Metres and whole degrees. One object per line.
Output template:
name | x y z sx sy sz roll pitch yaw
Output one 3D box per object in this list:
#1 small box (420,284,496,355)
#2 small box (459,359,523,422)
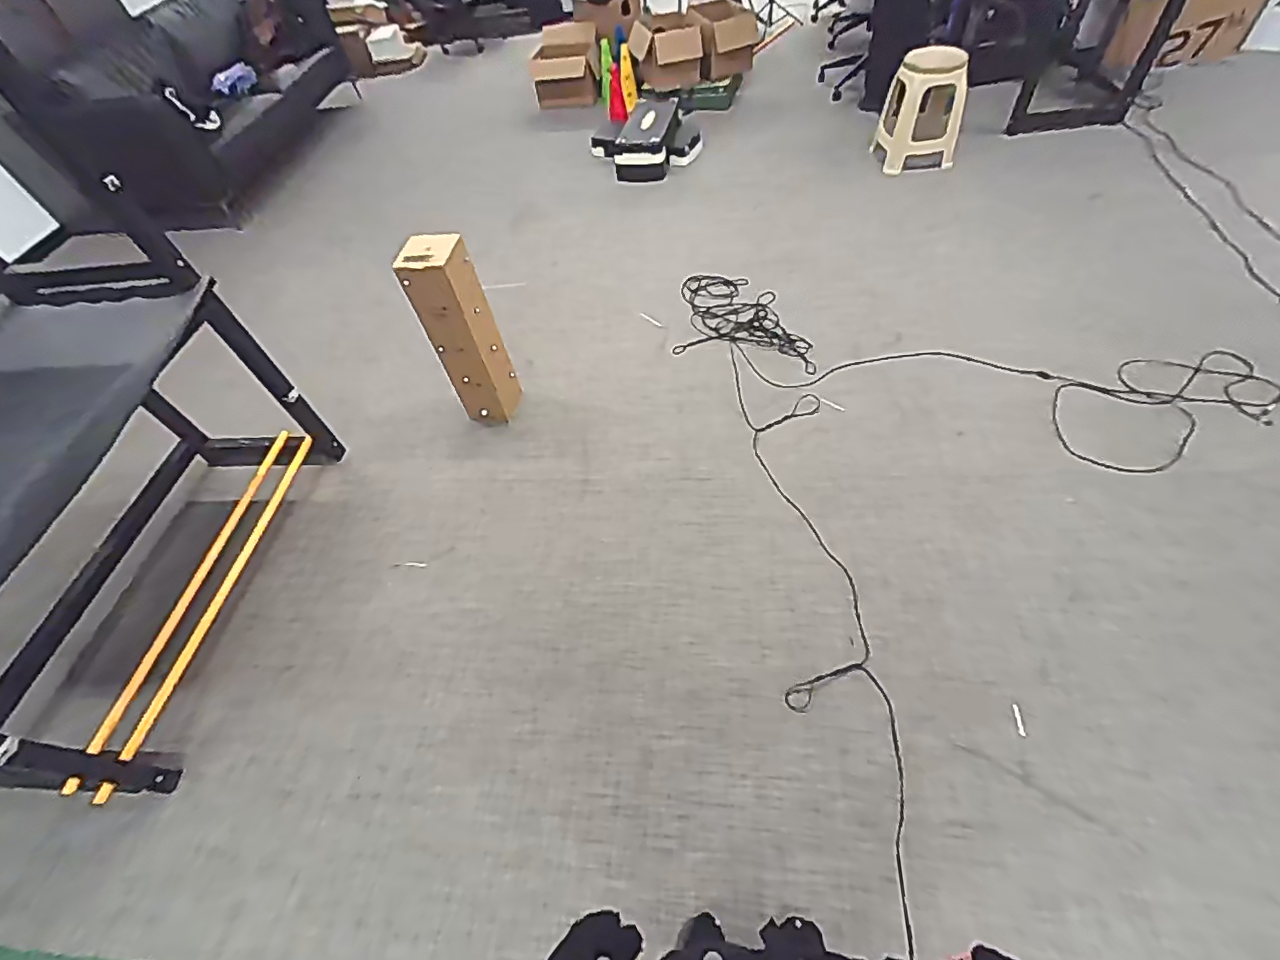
small box | -0.608 -0.542 1.834 0.168 0.176 0.179 3 53 9
small box | -0.569 -0.346 2.093 0.168 0.176 0.179 4 54 12
